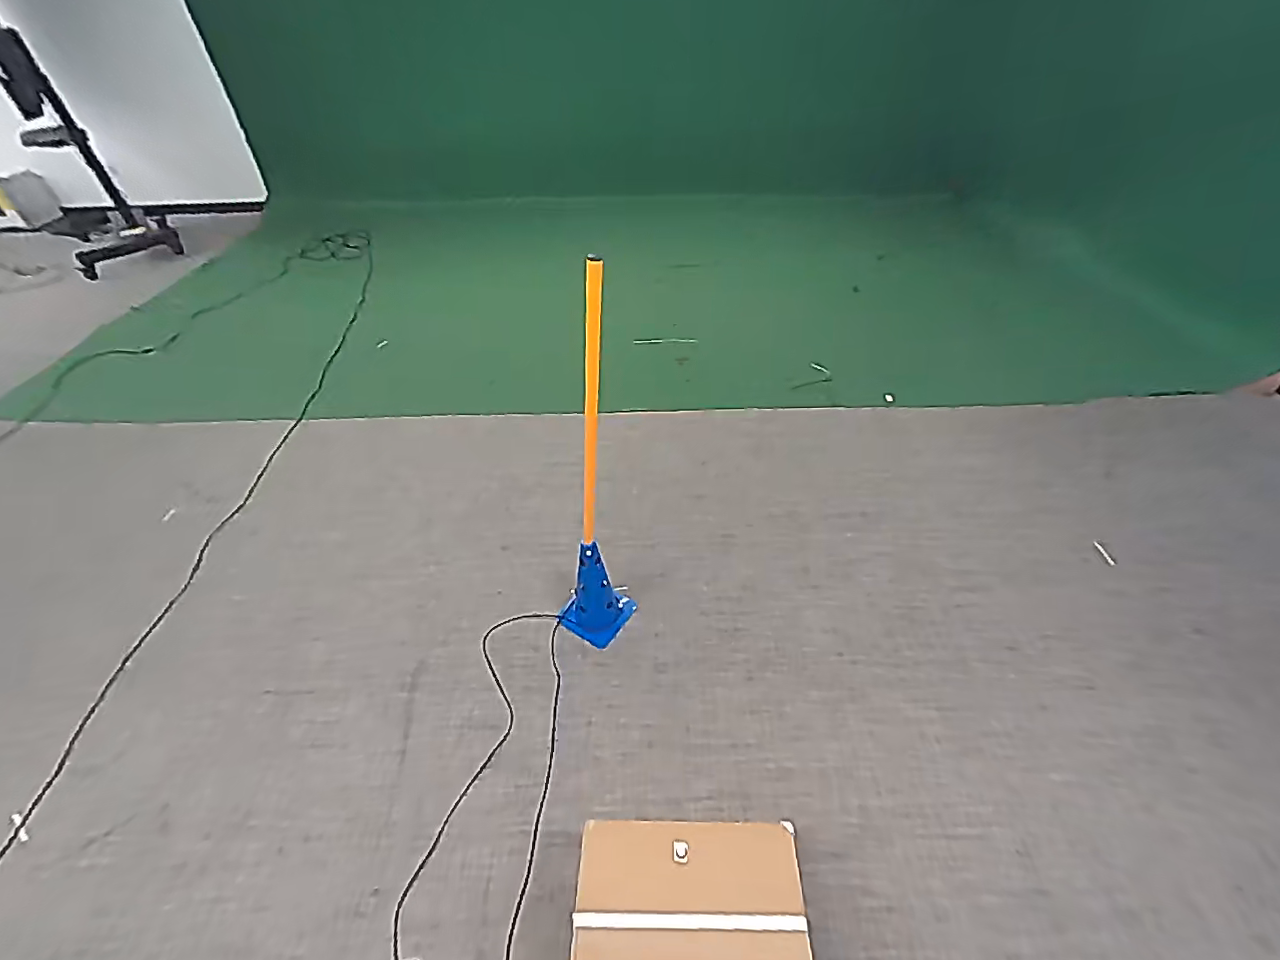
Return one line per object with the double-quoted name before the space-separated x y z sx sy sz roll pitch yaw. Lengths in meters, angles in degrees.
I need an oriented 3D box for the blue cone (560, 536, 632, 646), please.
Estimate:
"blue cone" -0.140 0.302 1.616 0.192 0.380 0.193 23 47 23
